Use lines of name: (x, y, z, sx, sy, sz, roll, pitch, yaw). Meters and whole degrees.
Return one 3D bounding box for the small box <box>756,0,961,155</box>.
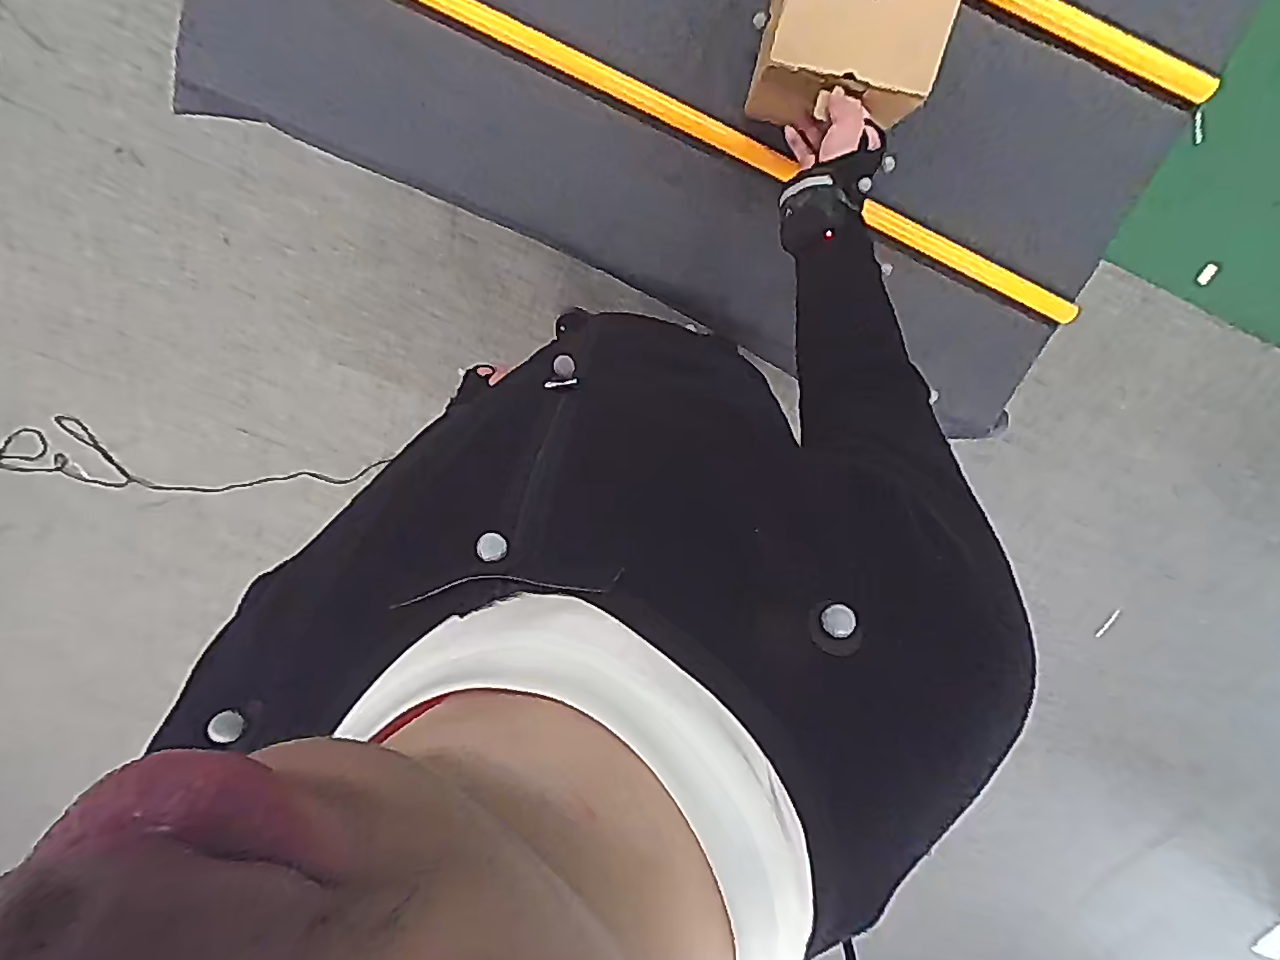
small box: (0.233, -0.489, 0.602, 0.168, 0.176, 0.179, 11, 108, 0)
